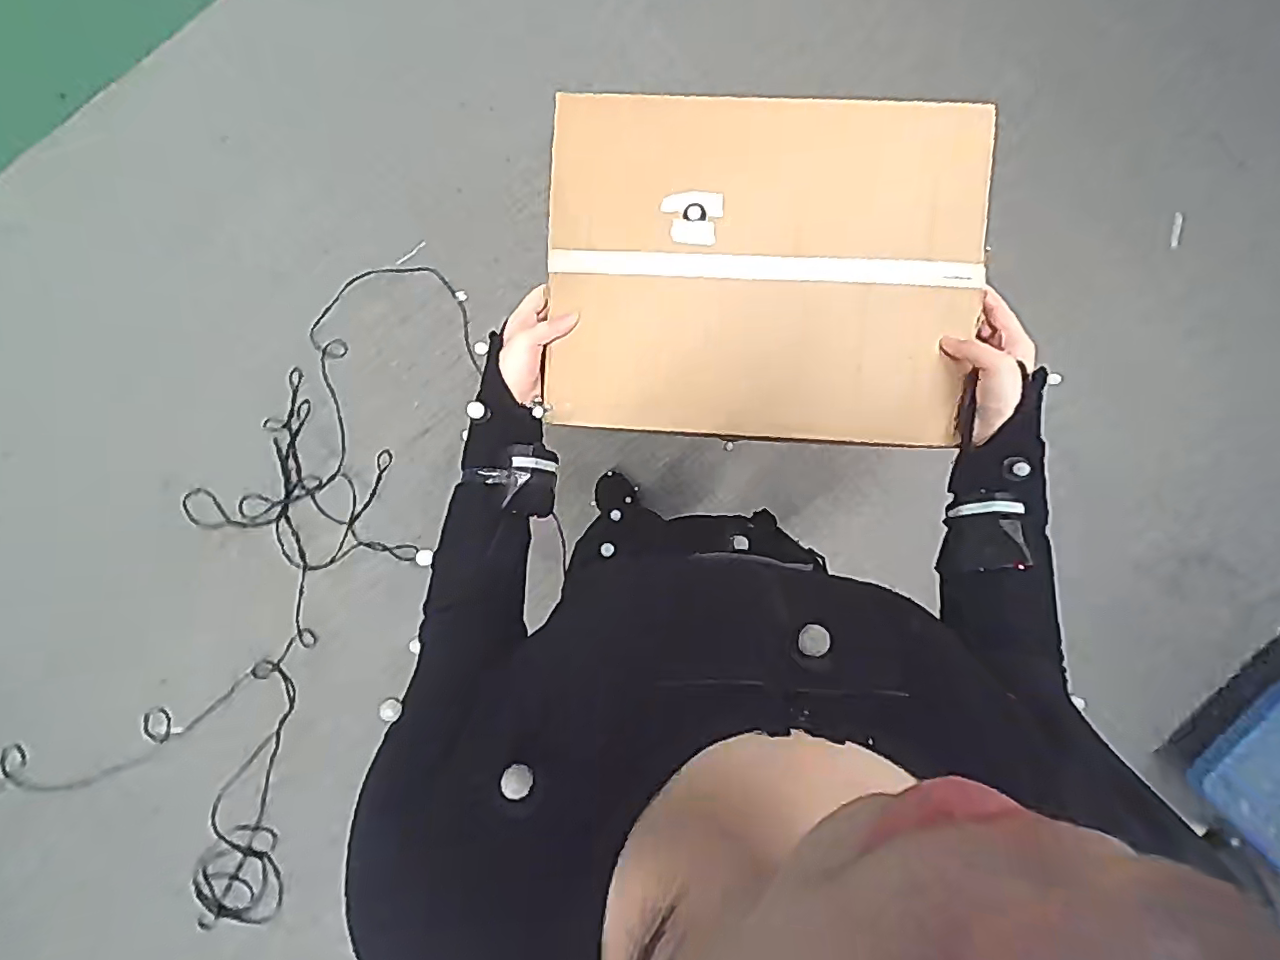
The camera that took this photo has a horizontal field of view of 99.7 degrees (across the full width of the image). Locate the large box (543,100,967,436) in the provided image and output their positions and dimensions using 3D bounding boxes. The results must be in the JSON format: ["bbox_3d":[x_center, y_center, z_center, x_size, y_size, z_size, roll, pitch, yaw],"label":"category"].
[{"bbox_3d":[0.115,-0.216,0.673,0.408,0.320,0.320,3,94,4],"label":"large box"}]
